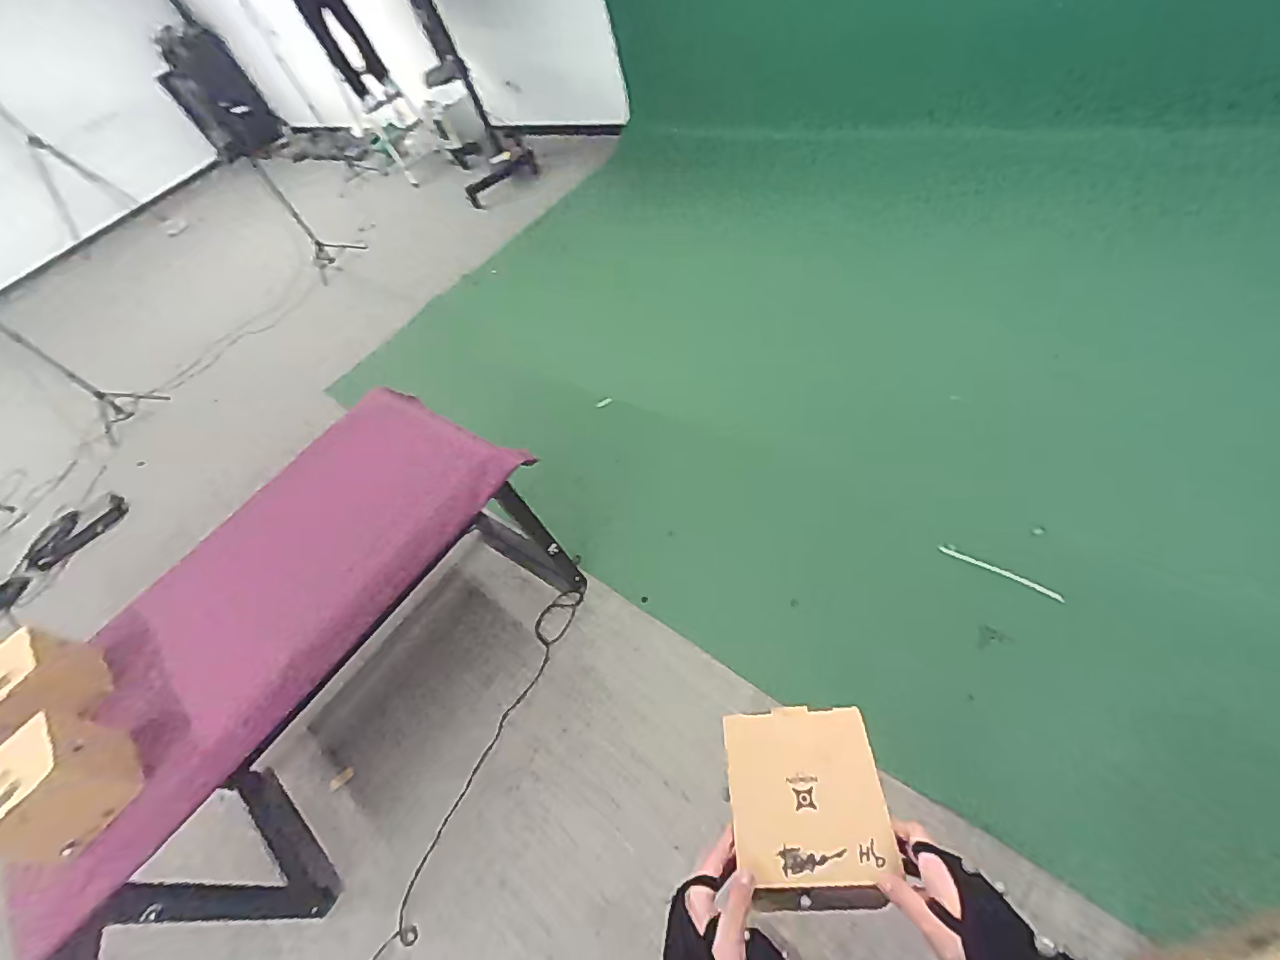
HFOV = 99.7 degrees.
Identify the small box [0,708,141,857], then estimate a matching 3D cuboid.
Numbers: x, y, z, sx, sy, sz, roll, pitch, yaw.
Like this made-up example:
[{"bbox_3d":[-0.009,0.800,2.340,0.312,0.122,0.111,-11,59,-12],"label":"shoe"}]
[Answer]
[{"bbox_3d":[-1.083,0.562,0.999,0.179,0.176,0.168,25,64,34],"label":"small box"}]
